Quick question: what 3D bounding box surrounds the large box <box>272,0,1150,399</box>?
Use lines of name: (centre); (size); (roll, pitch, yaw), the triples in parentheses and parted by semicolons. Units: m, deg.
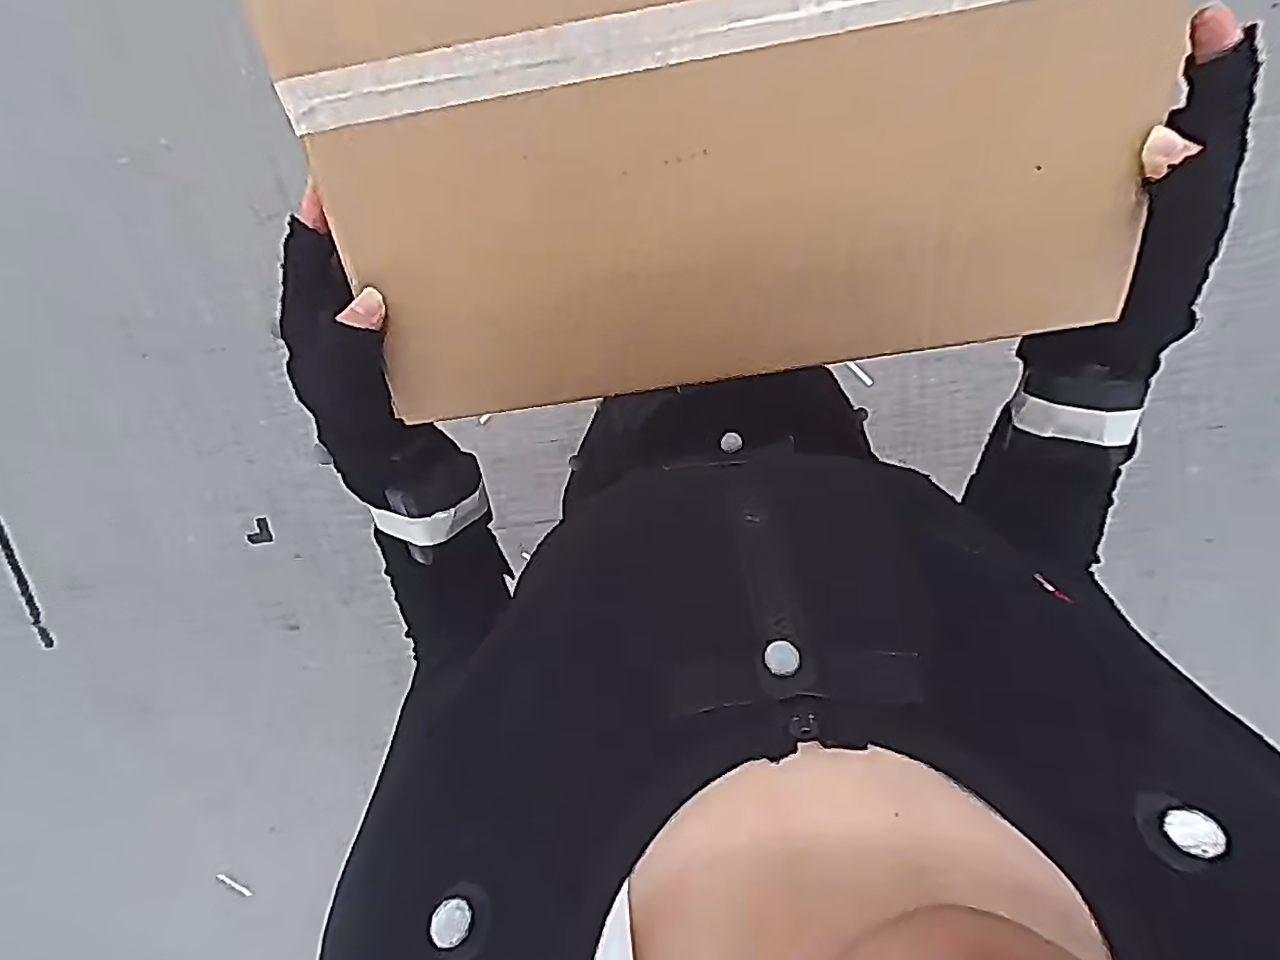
large box: (0.031, -0.276, 0.385); (0.408, 0.320, 0.320); (-8, 116, 3)
